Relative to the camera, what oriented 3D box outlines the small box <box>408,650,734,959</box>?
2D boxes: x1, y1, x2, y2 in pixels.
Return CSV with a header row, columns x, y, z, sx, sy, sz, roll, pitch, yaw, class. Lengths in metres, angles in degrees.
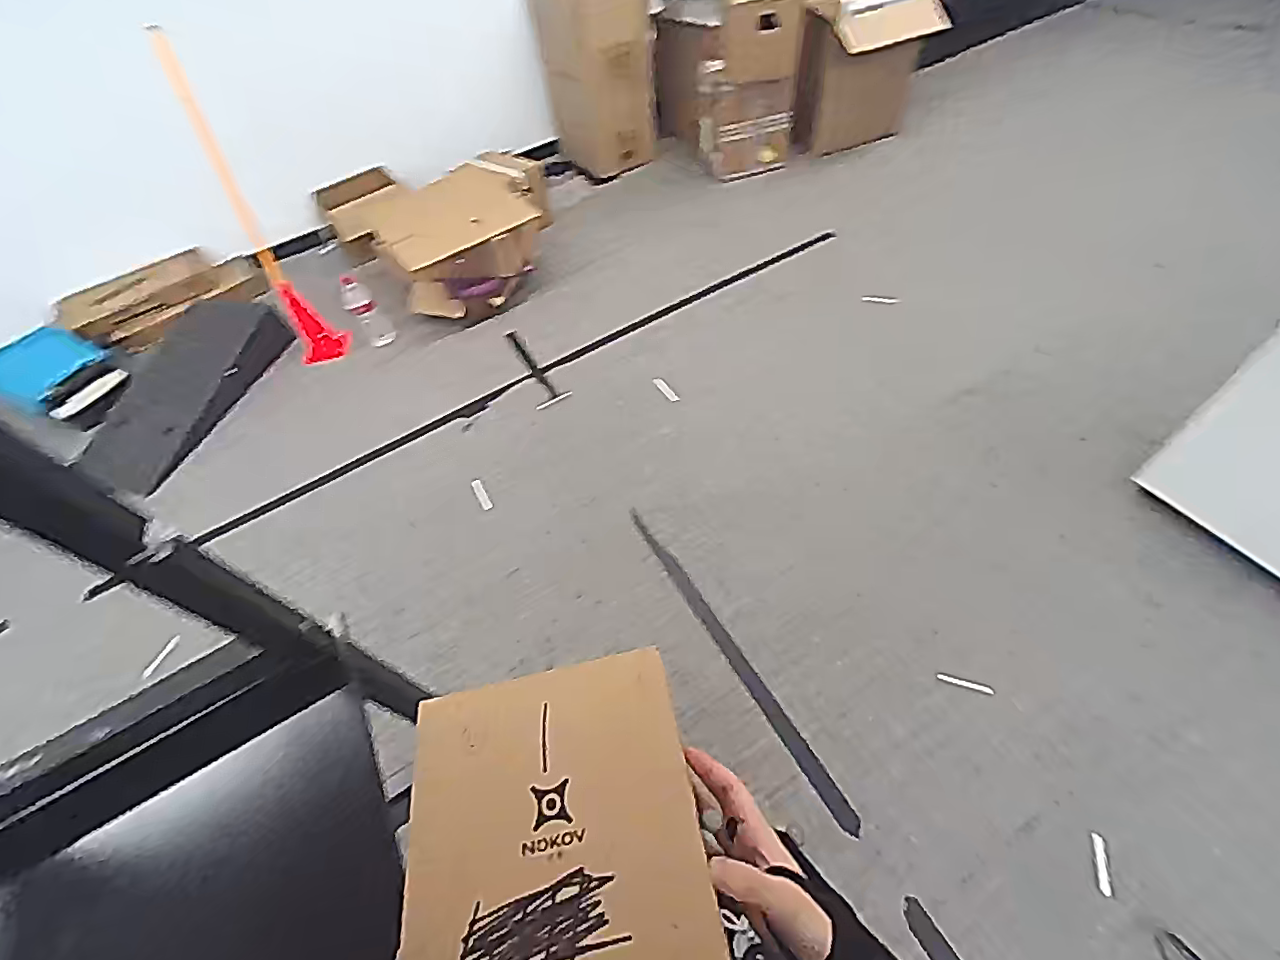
x,y,z,sx,sy,sz,roll,pitch,yaw,class
-0.035,0.245,0.368,0.168,0.176,0.179,-12,50,-1,small box
